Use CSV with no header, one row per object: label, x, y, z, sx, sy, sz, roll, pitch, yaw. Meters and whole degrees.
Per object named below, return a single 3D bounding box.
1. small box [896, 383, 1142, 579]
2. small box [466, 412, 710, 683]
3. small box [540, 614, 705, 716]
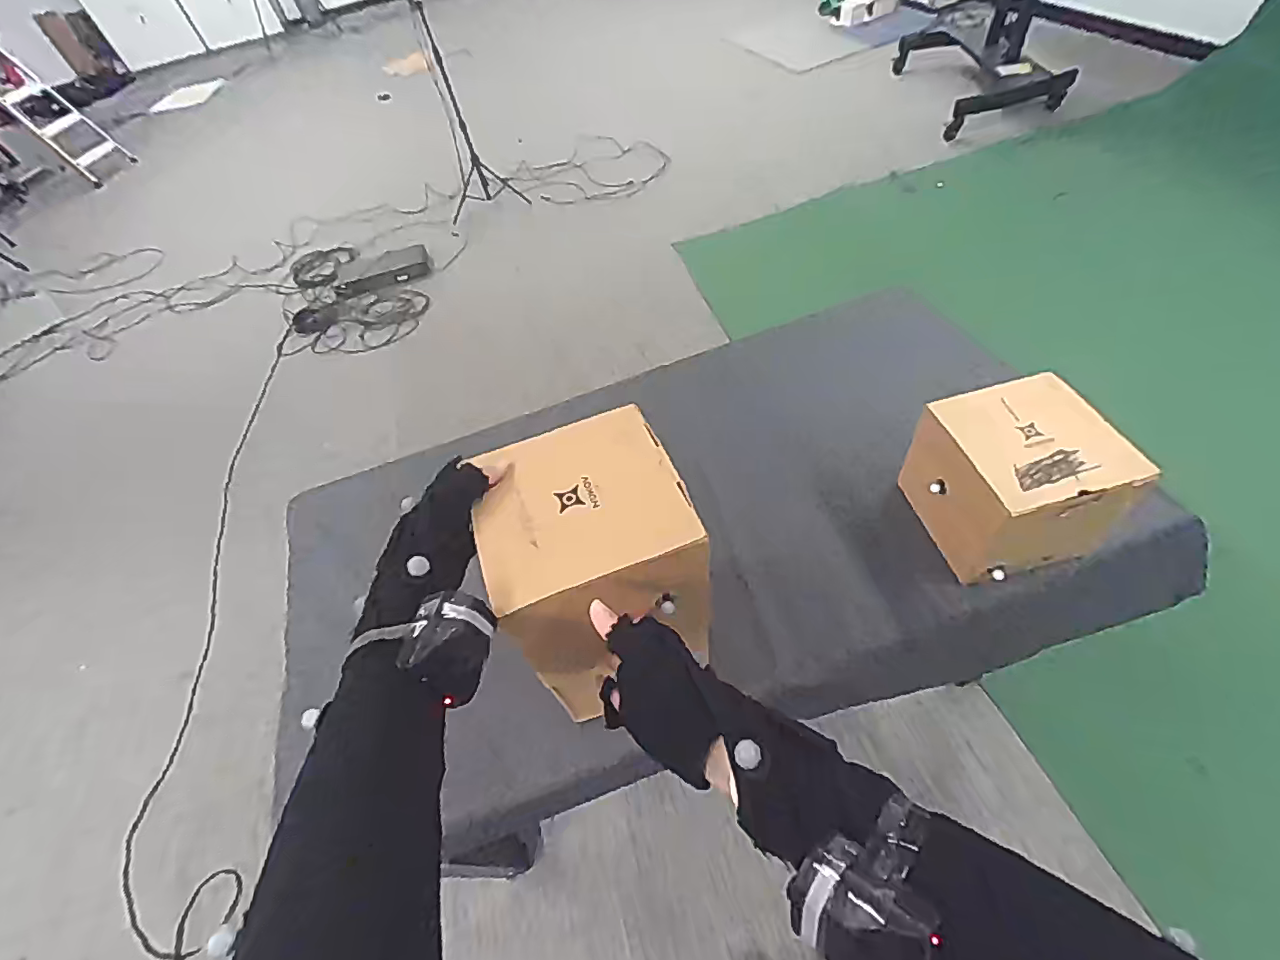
small box,0.459,0.009,0.693,0.168,0.176,0.179,-14,51,0
small box,-0.045,0.069,0.527,0.179,0.176,0.168,-21,52,-8
small box,-0.029,0.165,0.662,0.179,0.176,0.168,-17,51,-5
